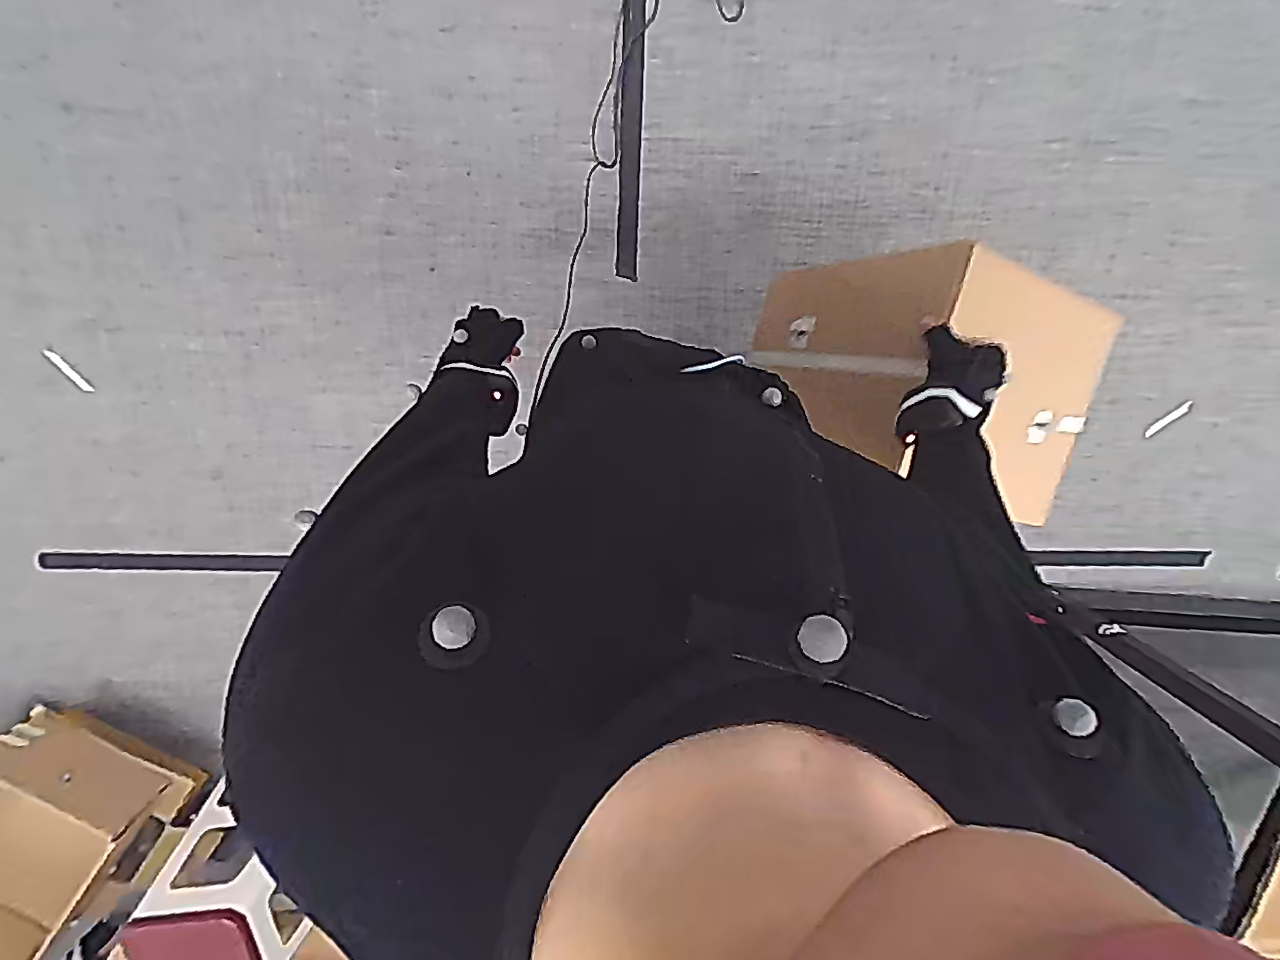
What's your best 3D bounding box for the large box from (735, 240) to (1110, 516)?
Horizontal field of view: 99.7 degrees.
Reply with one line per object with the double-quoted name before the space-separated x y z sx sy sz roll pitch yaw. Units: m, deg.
"large box" 0.421 -0.158 0.895 0.320 0.408 0.320 12 100 -21
